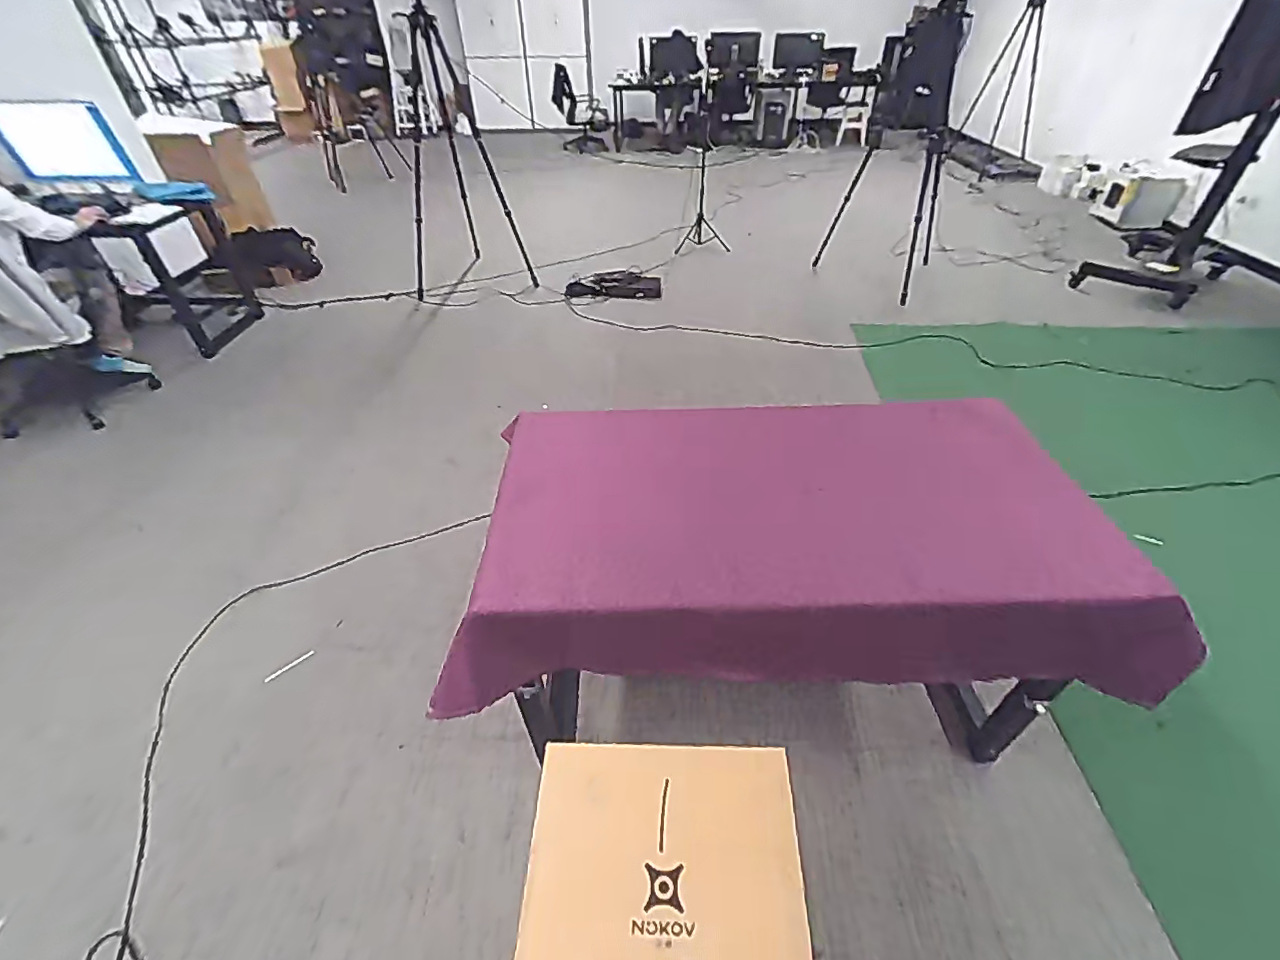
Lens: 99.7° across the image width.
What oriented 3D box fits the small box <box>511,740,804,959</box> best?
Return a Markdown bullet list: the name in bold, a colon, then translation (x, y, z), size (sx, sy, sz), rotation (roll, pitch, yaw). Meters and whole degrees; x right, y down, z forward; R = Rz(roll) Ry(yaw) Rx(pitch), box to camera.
- **small box**: translation (0.017, 0.300, 0.374), size (0.168, 0.176, 0.179), rotation (-1, 47, 5)
